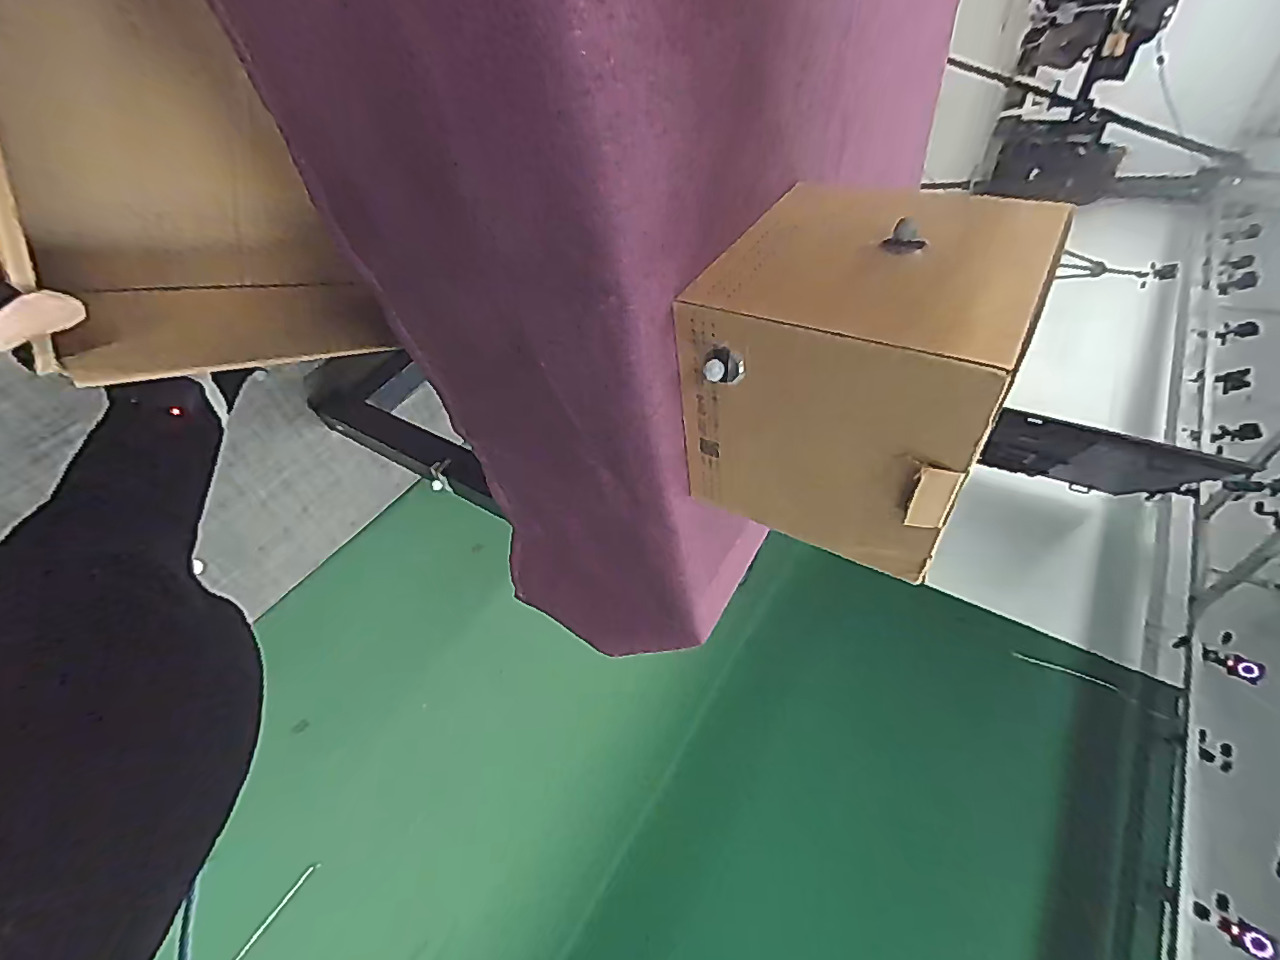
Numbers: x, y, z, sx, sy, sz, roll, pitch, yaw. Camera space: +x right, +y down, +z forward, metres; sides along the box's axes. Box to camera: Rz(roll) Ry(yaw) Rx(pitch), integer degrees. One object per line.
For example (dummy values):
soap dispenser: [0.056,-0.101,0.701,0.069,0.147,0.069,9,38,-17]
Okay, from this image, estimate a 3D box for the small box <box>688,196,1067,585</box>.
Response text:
small box: [0.141,-0.069,0.362,0.179,0.176,0.168,-50,148,-31]
